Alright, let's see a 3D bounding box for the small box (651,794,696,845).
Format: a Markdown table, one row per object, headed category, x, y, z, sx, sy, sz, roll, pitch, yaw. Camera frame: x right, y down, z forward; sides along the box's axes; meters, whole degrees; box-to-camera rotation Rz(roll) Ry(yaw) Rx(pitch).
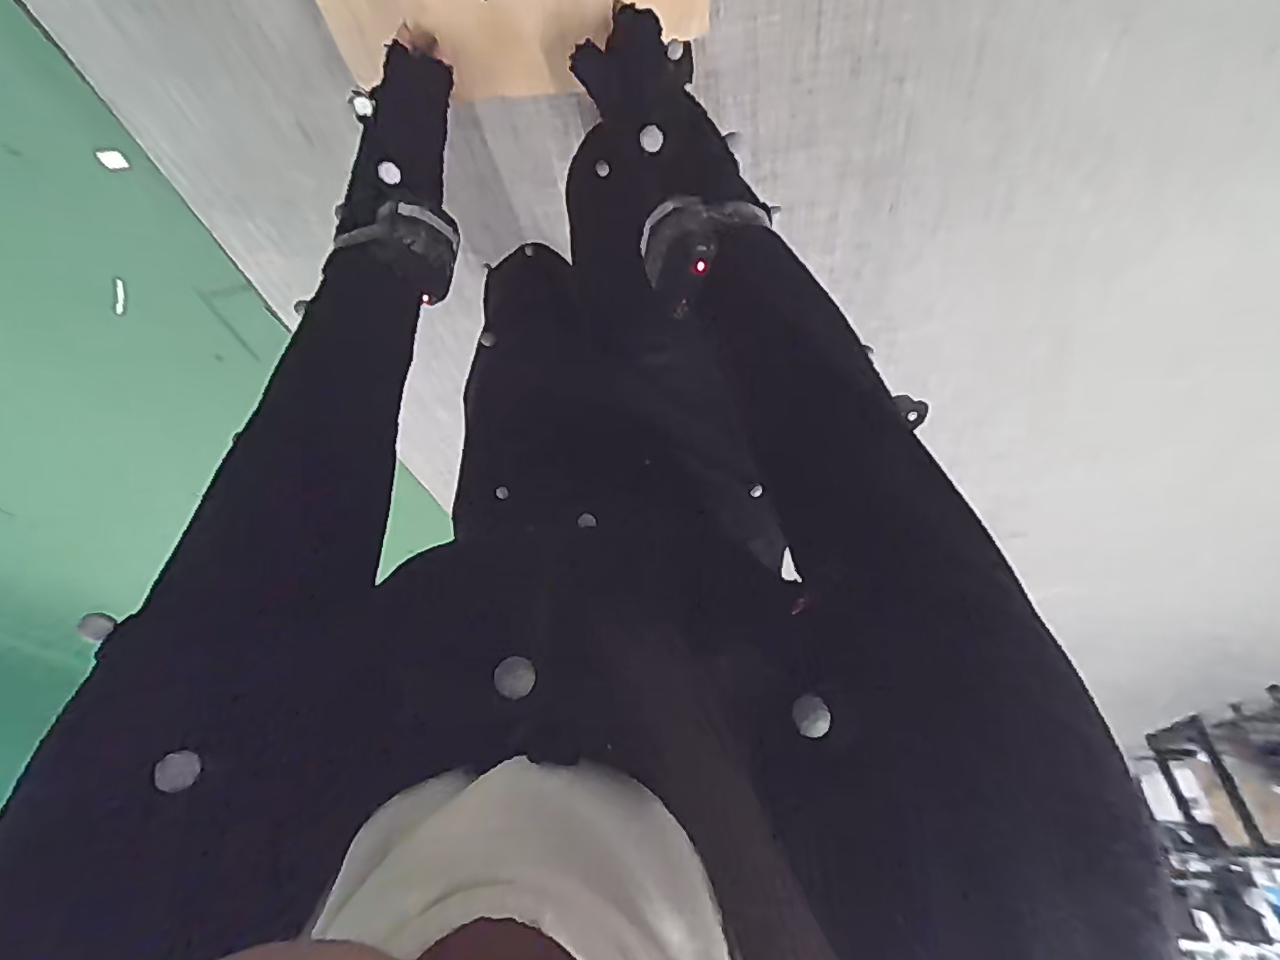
| category | x | y | z | sx | sy | sz | roll | pitch | yaw |
| --- | --- | --- | --- | --- | --- | --- | --- | --- | --- |
| small box | 0.142 | 1.430 | 2.275 | 0.168 | 0.176 | 0.179 | -5 | 143 | 12 |
